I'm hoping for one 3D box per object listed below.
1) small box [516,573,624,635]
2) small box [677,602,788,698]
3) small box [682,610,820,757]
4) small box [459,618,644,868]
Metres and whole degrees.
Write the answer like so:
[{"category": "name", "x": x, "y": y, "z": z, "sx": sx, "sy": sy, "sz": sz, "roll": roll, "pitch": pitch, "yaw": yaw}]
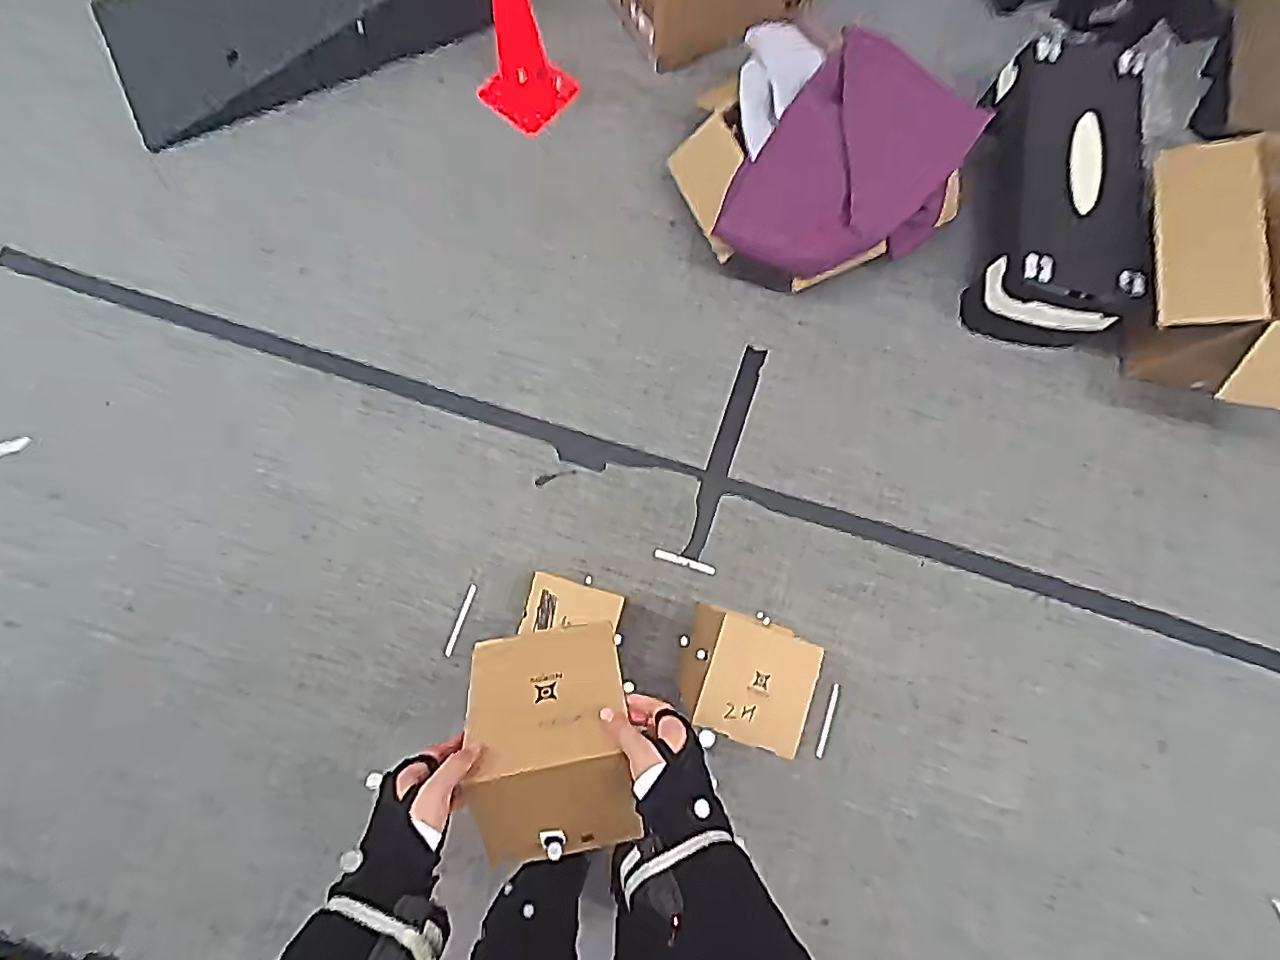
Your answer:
[{"category": "small box", "x": -0.138, "y": 0.290, "z": 1.077, "sx": 0.179, "sy": 0.176, "sz": 0.168, "roll": 16, "pitch": 79, "yaw": 1}, {"category": "small box", "x": 0.176, "y": 0.354, "z": 1.078, "sx": 0.168, "sy": 0.176, "sz": 0.179, "roll": 18, "pitch": 80, "yaw": 1}, {"category": "small box", "x": 0.176, "y": 0.329, "z": 0.913, "sx": 0.168, "sy": 0.176, "sz": 0.179, "roll": 19, "pitch": 80, "yaw": 2}, {"category": "small box", "x": -0.094, "y": 0.290, "z": 0.612, "sx": 0.168, "sy": 0.179, "sz": 0.176, "roll": -10, "pitch": 123, "yaw": -6}]
